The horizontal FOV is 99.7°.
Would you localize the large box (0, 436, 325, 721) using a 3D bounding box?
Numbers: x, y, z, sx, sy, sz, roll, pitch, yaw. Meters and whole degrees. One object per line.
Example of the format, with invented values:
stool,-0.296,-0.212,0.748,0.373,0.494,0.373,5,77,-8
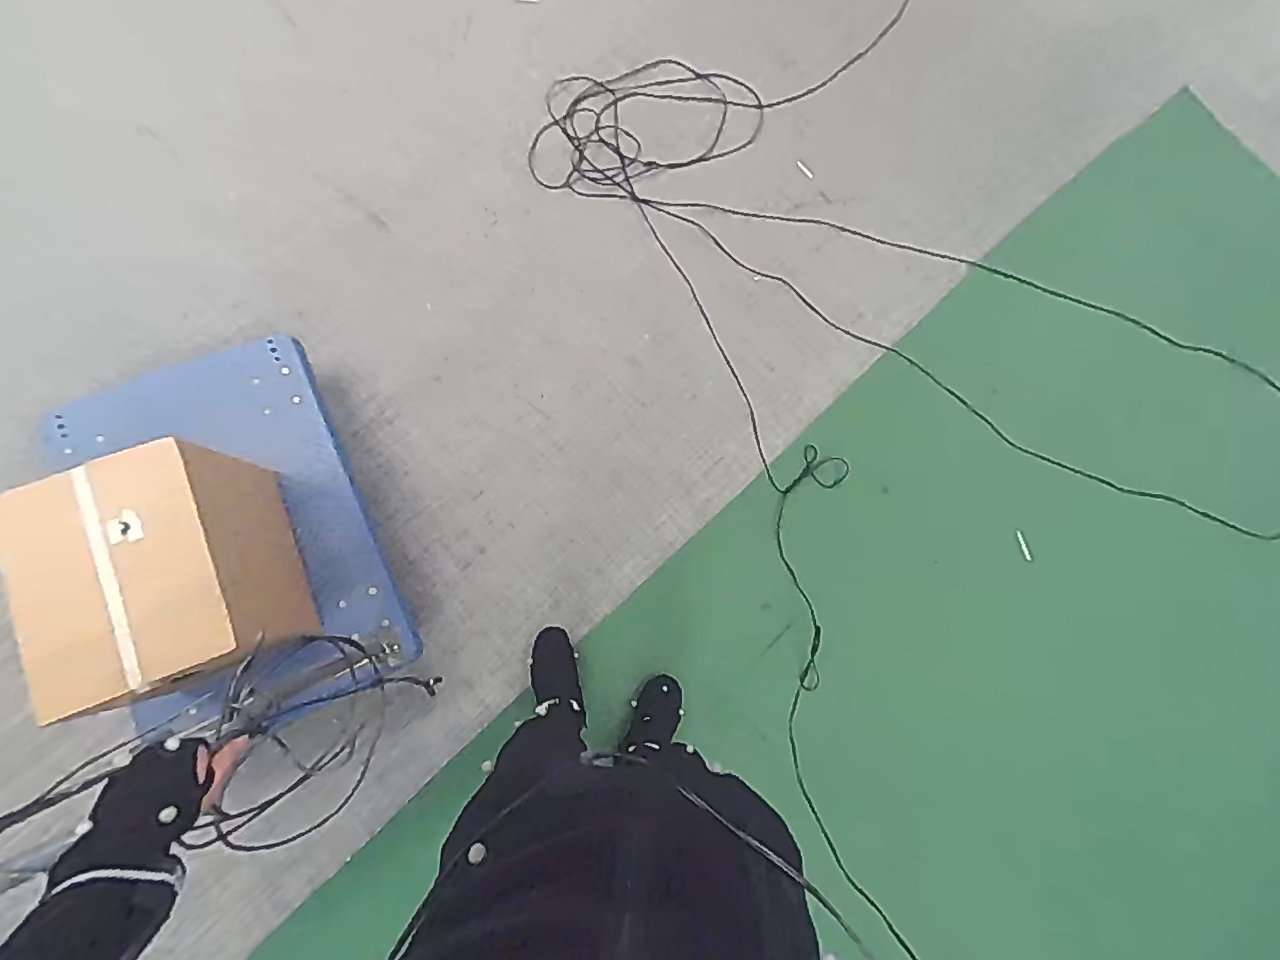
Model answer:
large box,-0.894,0.183,1.056,0.320,0.320,0.408,-21,81,-9
